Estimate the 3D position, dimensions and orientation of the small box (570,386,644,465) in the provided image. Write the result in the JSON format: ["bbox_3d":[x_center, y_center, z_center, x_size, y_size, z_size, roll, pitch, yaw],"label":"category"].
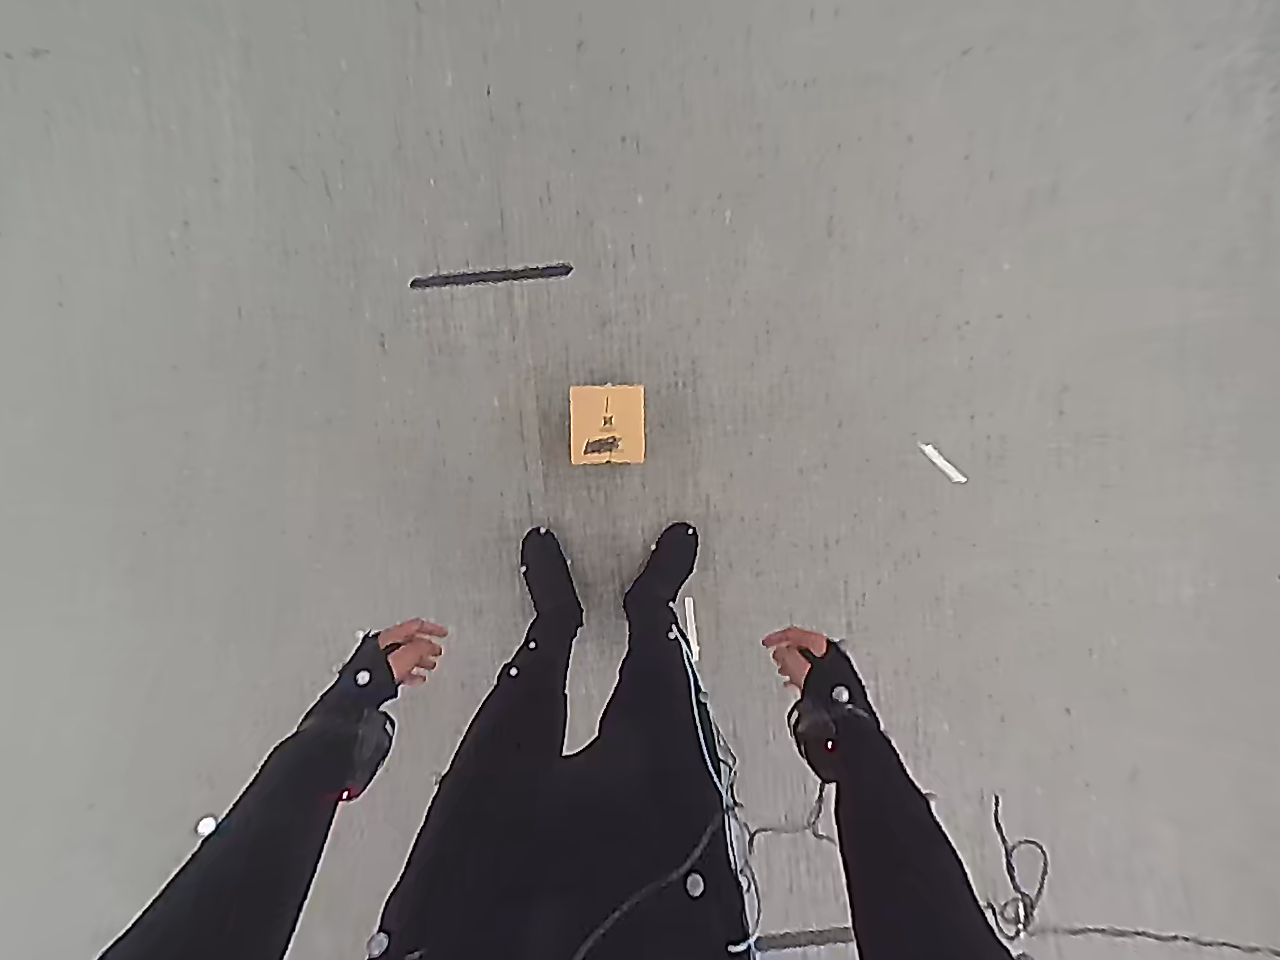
[{"bbox_3d":[-0.077,-0.128,1.275,0.168,0.176,0.179,-1,95,-3],"label":"small box"}]
